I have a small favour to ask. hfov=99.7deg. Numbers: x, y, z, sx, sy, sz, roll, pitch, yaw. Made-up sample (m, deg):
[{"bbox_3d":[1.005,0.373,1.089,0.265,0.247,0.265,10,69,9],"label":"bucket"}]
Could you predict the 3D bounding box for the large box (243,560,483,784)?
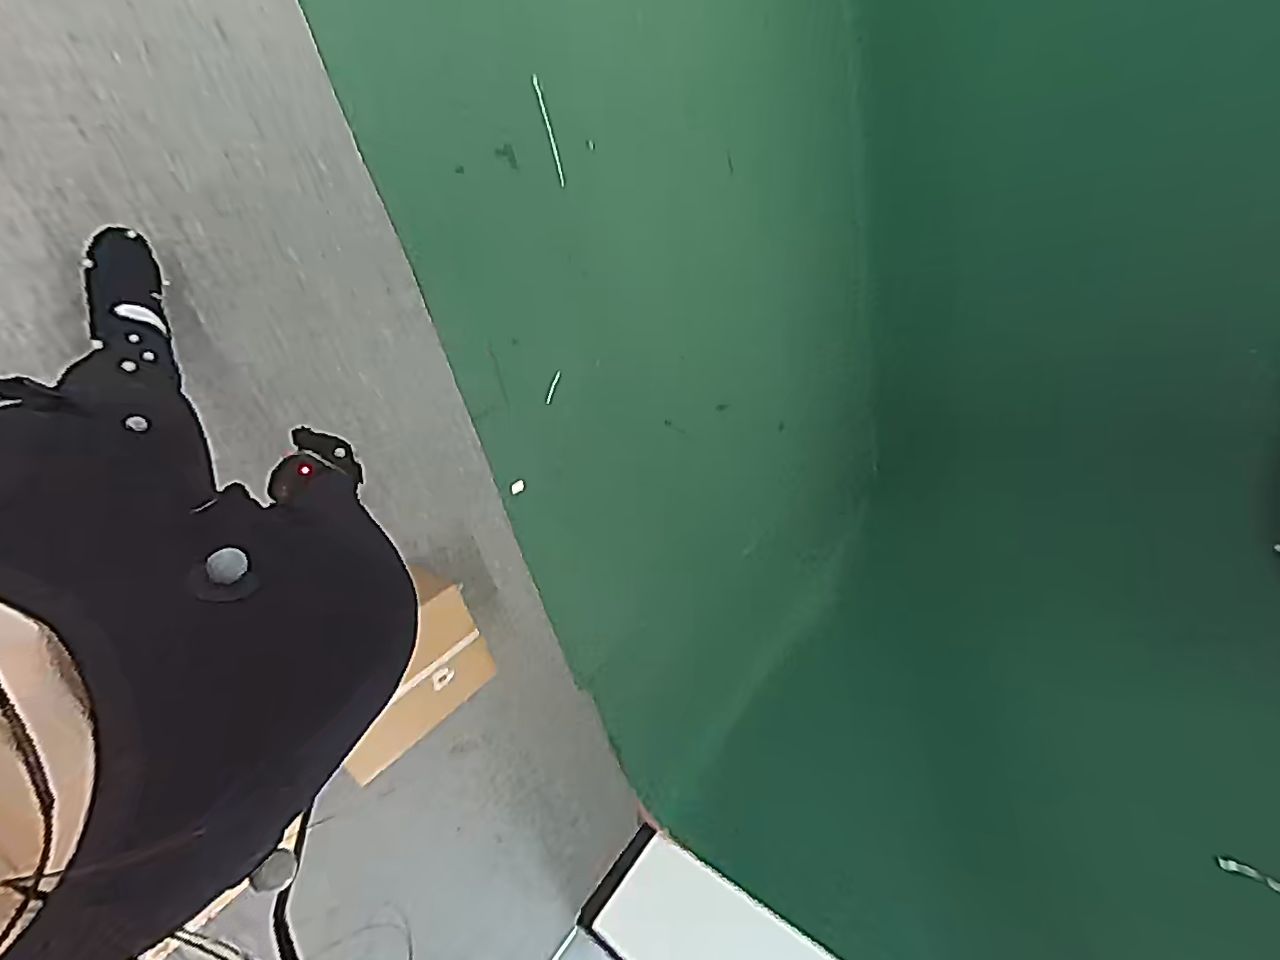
[{"bbox_3d":[-0.701,0.464,1.402,0.408,0.320,0.320,-37,122,-41],"label":"large box"}]
